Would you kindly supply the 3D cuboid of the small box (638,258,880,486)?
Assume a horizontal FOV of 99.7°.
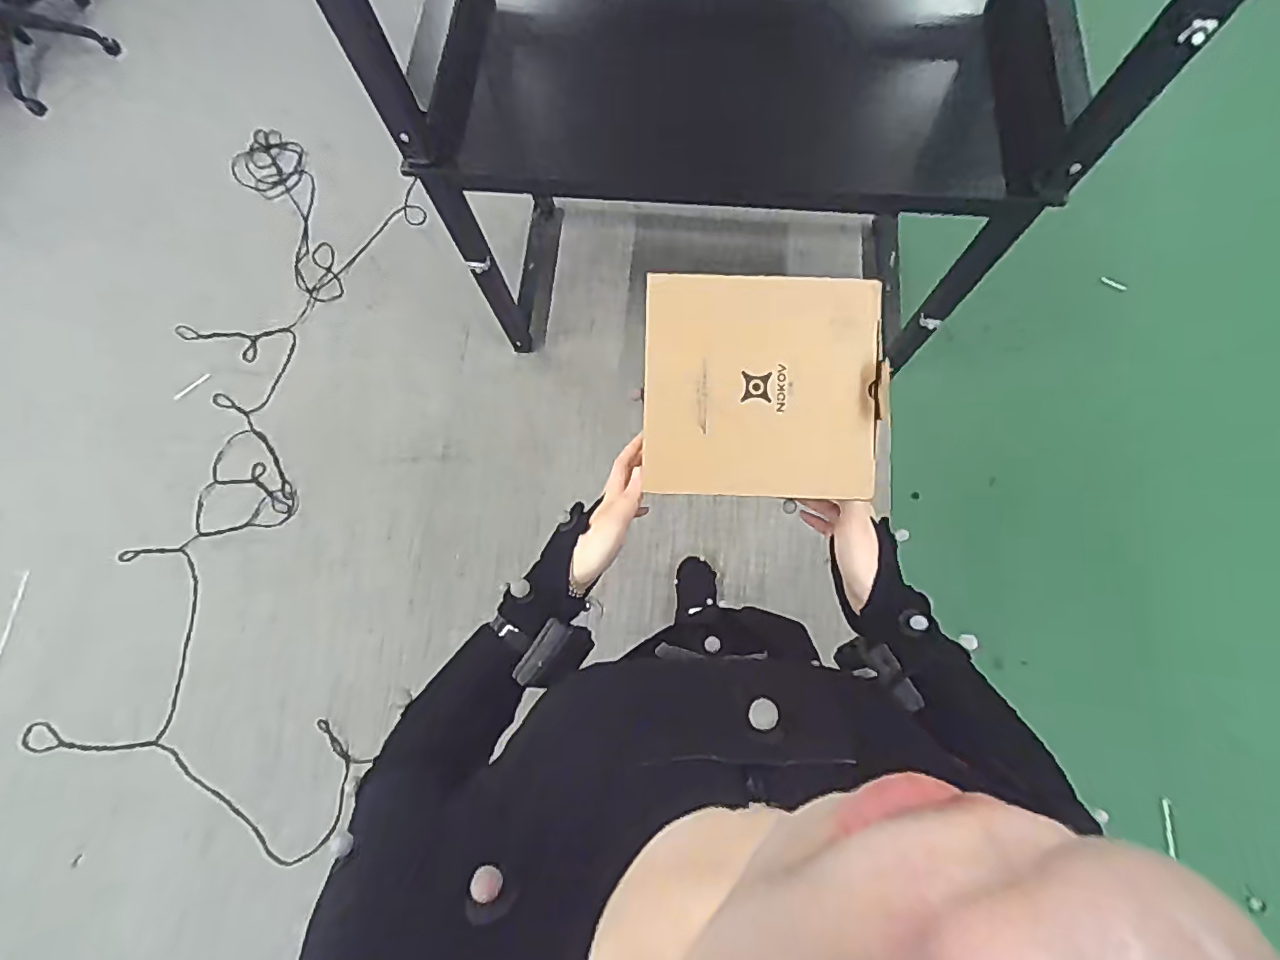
[{"bbox_3d":[0.089,-0.081,0.479,0.179,0.176,0.168,1,90,2],"label":"small box"}]
